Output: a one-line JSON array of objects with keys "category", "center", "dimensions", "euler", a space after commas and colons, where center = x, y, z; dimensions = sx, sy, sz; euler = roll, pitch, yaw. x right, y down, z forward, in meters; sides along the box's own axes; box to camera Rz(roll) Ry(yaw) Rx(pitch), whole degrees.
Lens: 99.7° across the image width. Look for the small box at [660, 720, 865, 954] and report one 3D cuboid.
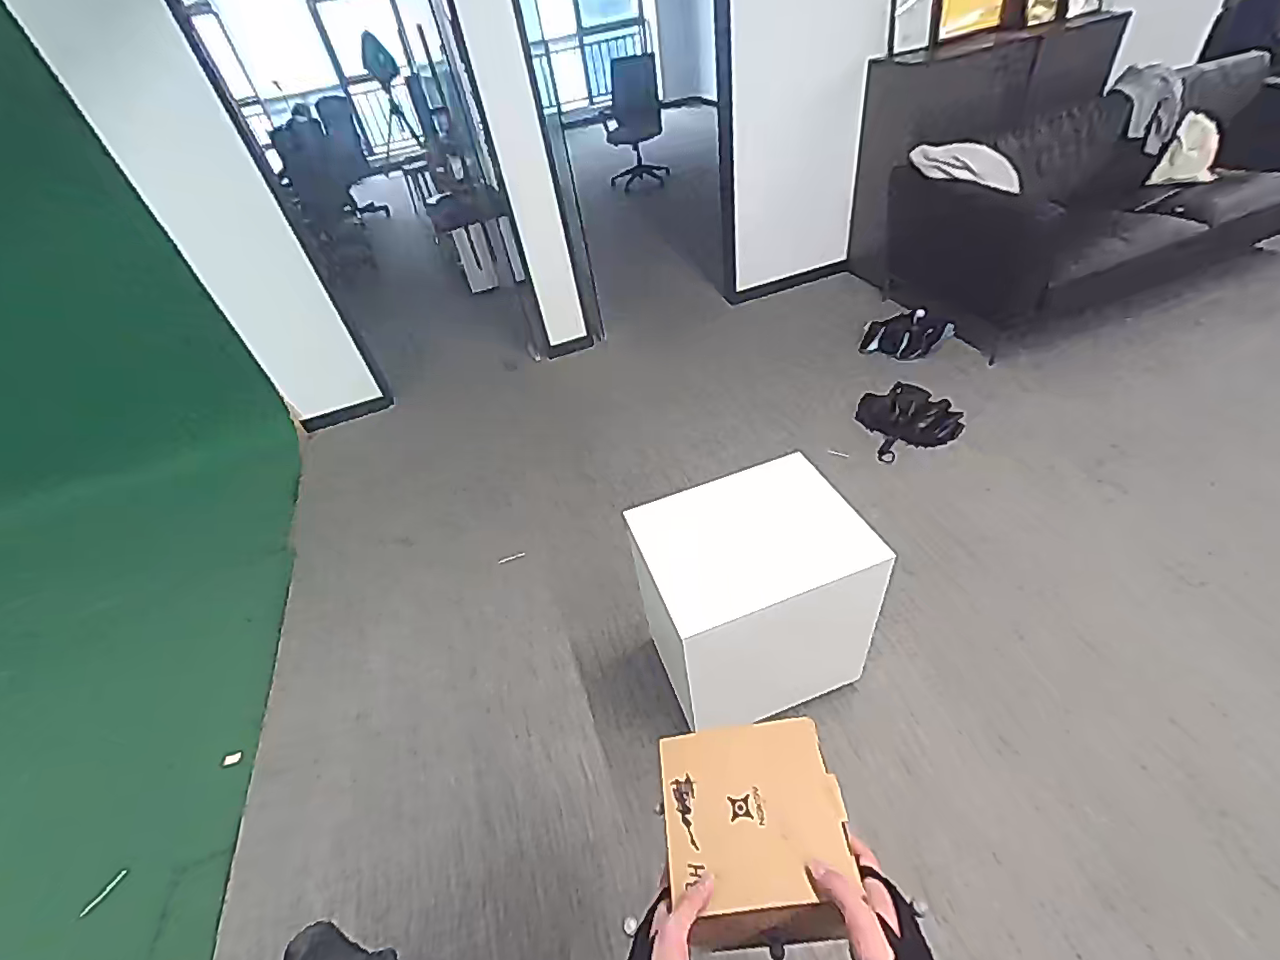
[{"category": "small box", "center": [0.123, 0.389, 0.589], "dimensions": [0.179, 0.176, 0.168], "euler": [-10, 38, 5]}]
